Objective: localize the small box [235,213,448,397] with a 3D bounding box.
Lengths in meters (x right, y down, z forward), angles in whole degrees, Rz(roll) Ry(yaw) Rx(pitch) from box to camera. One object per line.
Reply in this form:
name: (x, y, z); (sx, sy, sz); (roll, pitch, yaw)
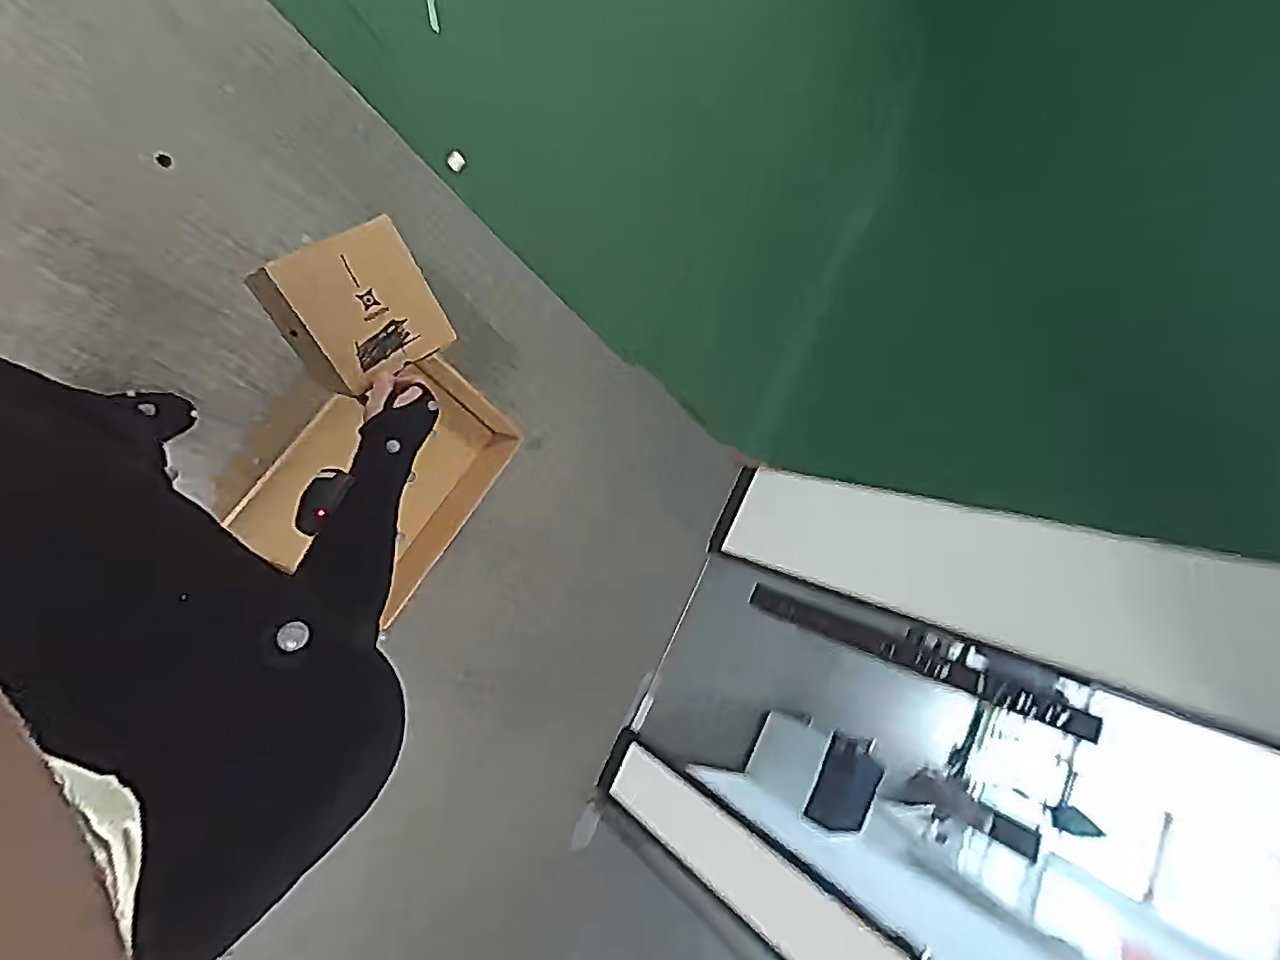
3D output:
small box: (-0.402, -0.234, 0.733); (0.168, 0.176, 0.179); (-42, 126, -28)
